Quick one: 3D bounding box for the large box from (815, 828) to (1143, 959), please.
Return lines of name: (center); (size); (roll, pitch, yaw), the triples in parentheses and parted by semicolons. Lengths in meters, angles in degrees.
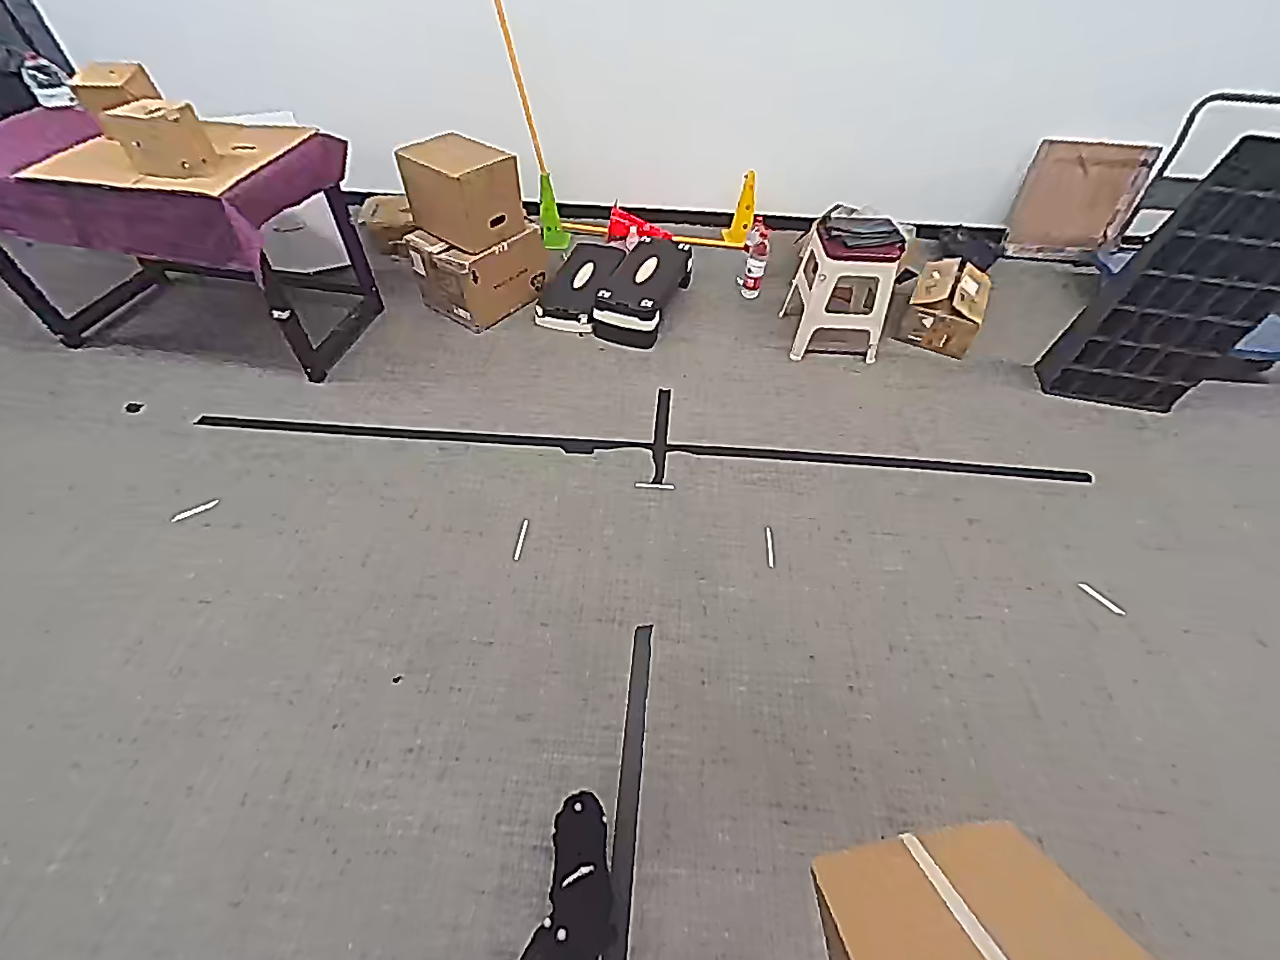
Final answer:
large box: (0.443, 0.713, 0.639); (0.320, 0.408, 0.320); (-12, 92, 1)
